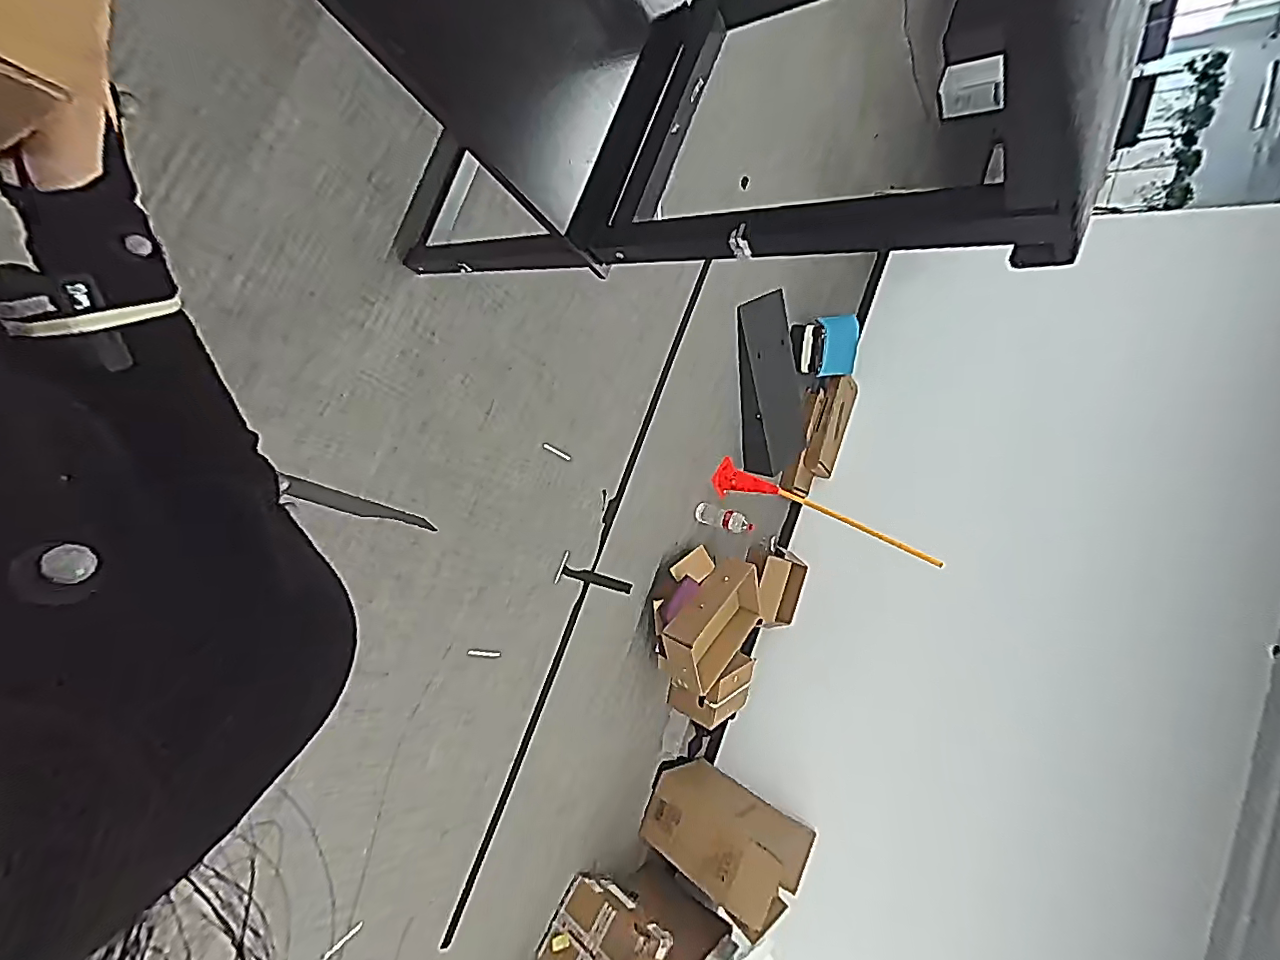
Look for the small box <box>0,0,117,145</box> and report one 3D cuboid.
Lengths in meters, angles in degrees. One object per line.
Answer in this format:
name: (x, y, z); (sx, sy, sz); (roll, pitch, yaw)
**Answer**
small box: (-0.313, -0.259, 0.196); (0.168, 0.176, 0.179); (17, 85, -59)
